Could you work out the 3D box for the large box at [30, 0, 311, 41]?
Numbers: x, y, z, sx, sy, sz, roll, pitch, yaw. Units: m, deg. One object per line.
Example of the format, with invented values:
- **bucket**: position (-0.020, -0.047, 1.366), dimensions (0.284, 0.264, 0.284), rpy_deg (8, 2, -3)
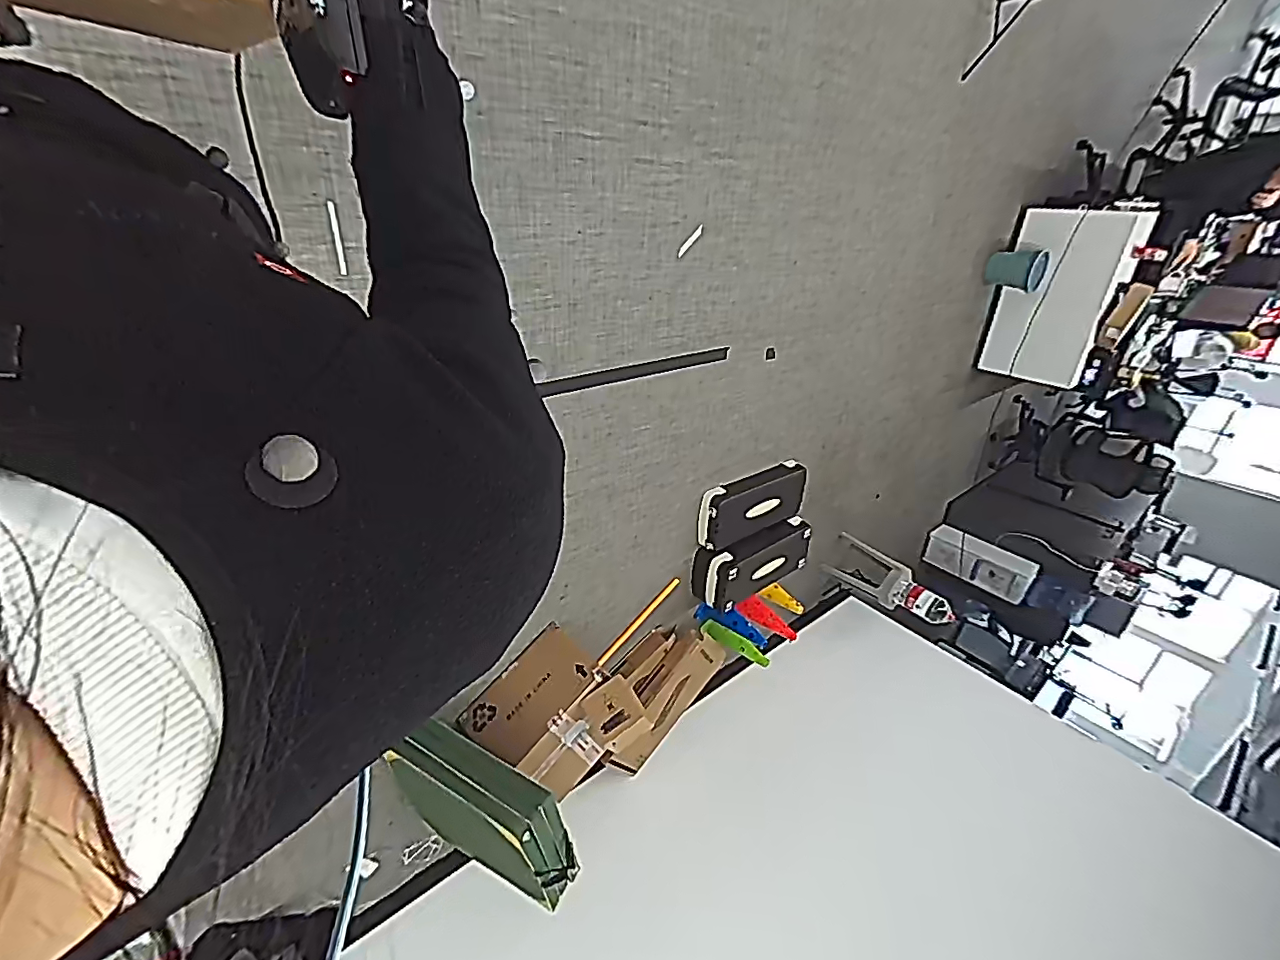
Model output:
- **large box**: position (-0.448, -0.466, 0.261), dimensions (0.408, 0.320, 0.320), rpy_deg (-18, 128, -40)
